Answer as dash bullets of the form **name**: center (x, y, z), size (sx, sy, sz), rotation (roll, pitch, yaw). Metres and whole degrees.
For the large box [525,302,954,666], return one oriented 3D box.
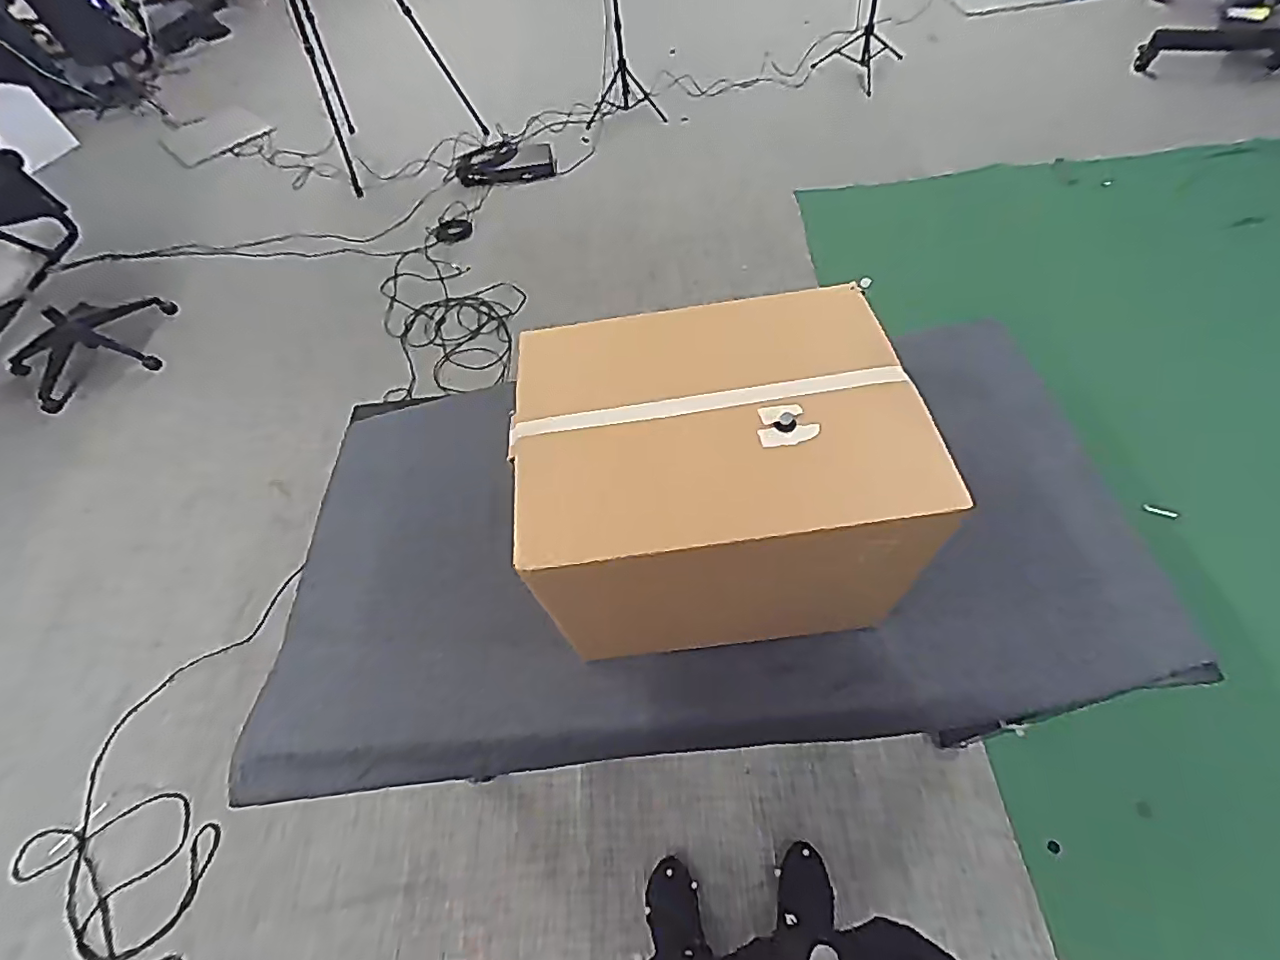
- **large box**: center (0.086, 0.020, 0.695), size (0.408, 0.320, 0.320), rotation (-8, 57, 1)
